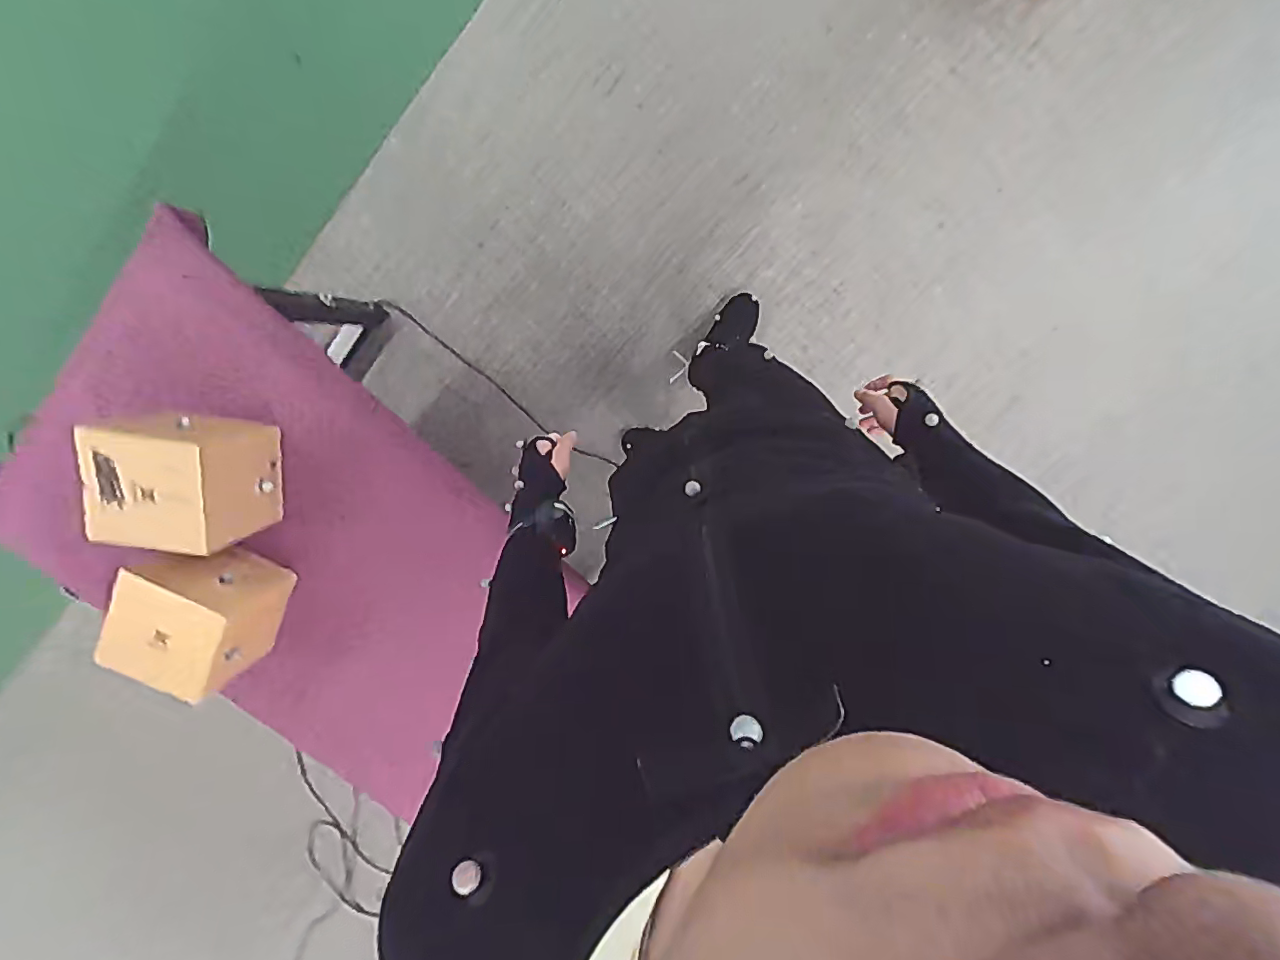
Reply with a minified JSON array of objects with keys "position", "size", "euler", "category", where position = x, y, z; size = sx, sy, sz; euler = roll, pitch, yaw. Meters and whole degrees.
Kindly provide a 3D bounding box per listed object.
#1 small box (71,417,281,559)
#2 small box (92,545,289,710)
[{"position":[-0.690,0.003,0.825],"size":[0.179,0.176,0.168],"euler":[8,105,-1],"category":"small box"},{"position":[-0.718,0.226,0.885],"size":[0.168,0.176,0.179],"euler":[27,104,-5],"category":"small box"}]
